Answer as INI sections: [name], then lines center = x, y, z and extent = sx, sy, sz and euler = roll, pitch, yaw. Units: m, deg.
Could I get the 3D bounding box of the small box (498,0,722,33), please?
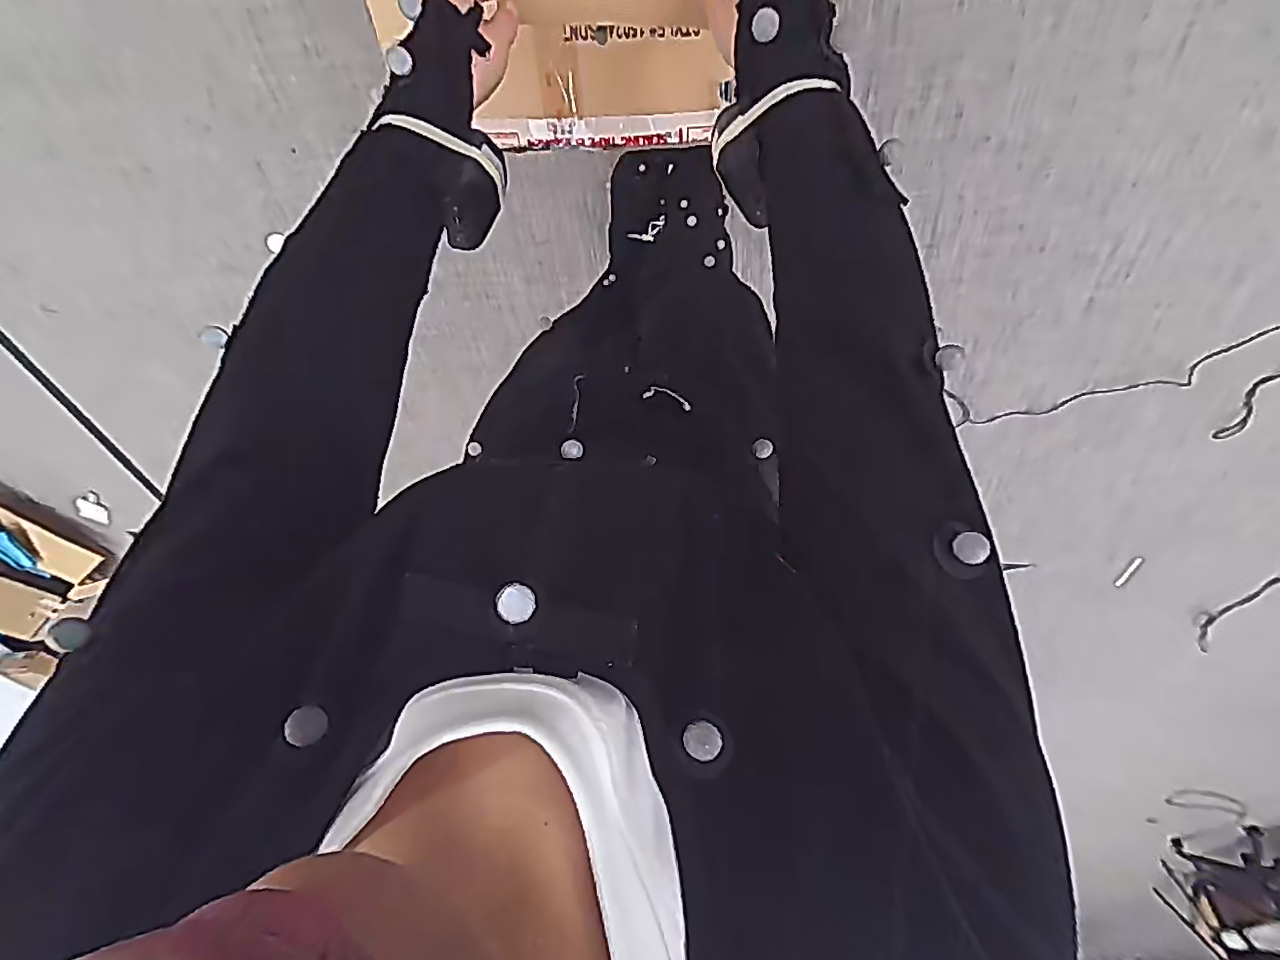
[small box]
center = -0.015, -0.469, 0.425
extent = 0.179, 0.176, 0.168
euler = 4, 136, 3
